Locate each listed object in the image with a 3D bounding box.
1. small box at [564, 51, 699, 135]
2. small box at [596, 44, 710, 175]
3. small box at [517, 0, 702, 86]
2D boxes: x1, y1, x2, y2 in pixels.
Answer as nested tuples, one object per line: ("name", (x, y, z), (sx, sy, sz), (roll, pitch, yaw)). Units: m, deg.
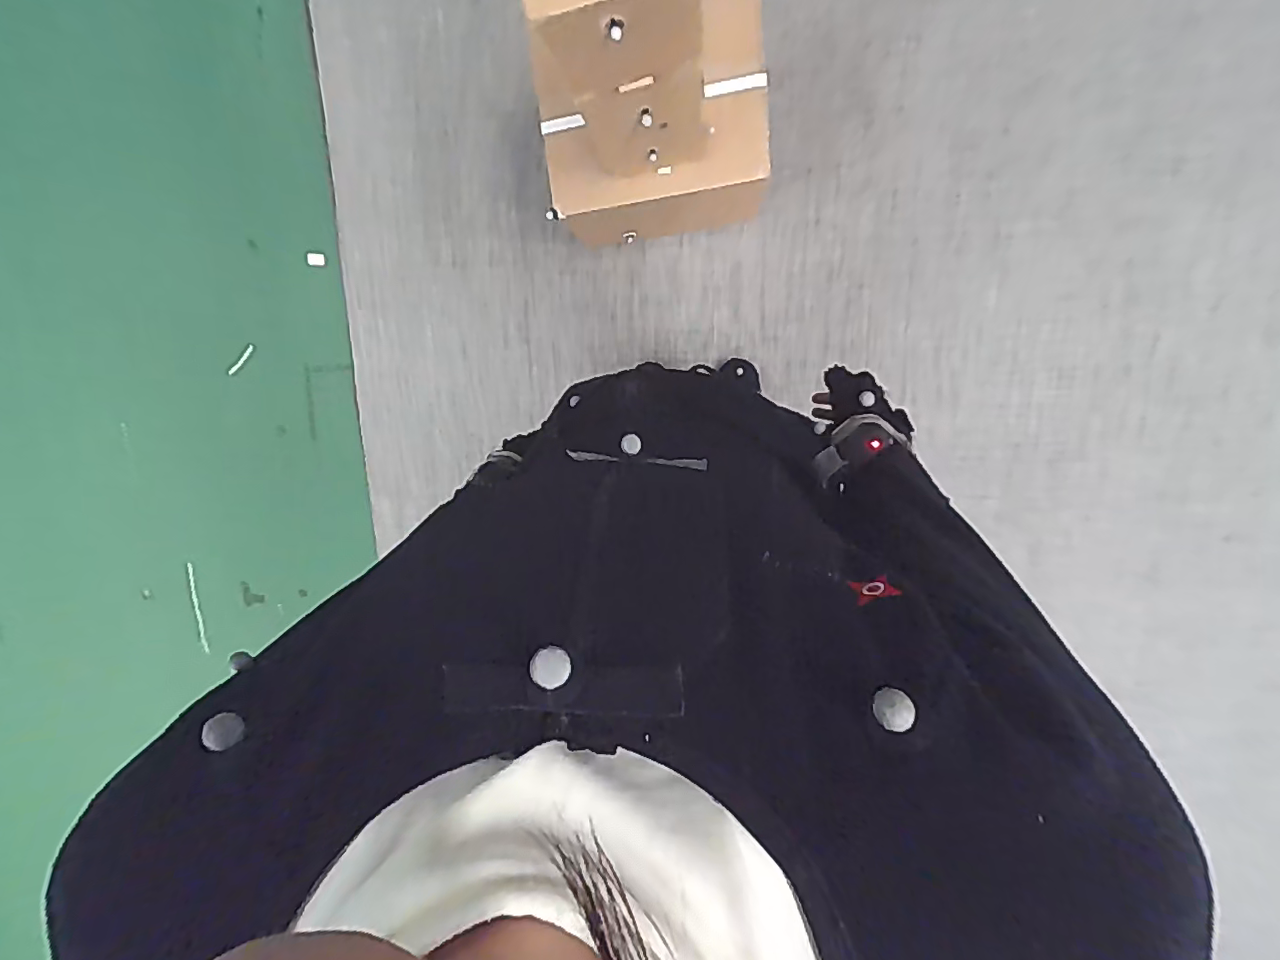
("small box", (-0.015, -0.593, 0.723), (0.168, 0.176, 0.179), (-9, 103, 10))
("small box", (0.013, -0.627, 0.880), (0.179, 0.176, 0.168), (-11, 102, 10))
("small box", (-0.033, -0.553, 0.566), (0.179, 0.176, 0.168), (-8, 104, 9))
